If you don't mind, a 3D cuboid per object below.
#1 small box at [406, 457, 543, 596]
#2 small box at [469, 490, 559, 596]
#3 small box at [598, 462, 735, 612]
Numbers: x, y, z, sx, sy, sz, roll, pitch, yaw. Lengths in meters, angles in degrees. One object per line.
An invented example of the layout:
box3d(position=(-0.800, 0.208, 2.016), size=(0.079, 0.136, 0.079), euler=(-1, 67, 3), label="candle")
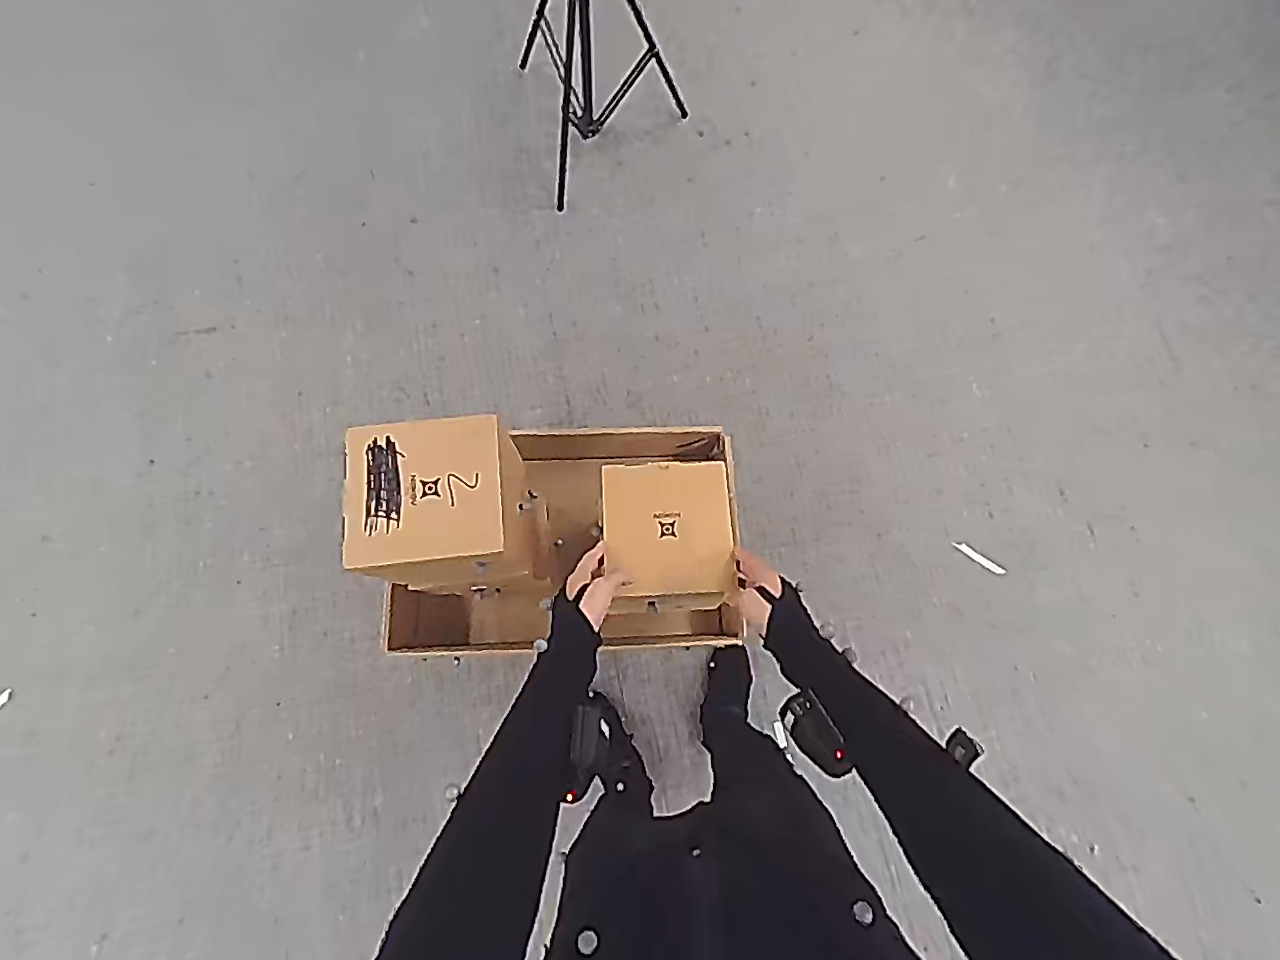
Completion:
box3d(position=(-0.249, 0.079, 0.838), size=(0.168, 0.176, 0.179), euler=(-7, 75, -3), label="small box")
box3d(position=(-0.248, 0.122, 0.997), size=(0.179, 0.176, 0.168), euler=(-4, 76, -5), label="small box")
box3d(position=(0.029, 0.088, 0.760), size=(0.168, 0.176, 0.179), euler=(-3, 69, -4), label="small box")
